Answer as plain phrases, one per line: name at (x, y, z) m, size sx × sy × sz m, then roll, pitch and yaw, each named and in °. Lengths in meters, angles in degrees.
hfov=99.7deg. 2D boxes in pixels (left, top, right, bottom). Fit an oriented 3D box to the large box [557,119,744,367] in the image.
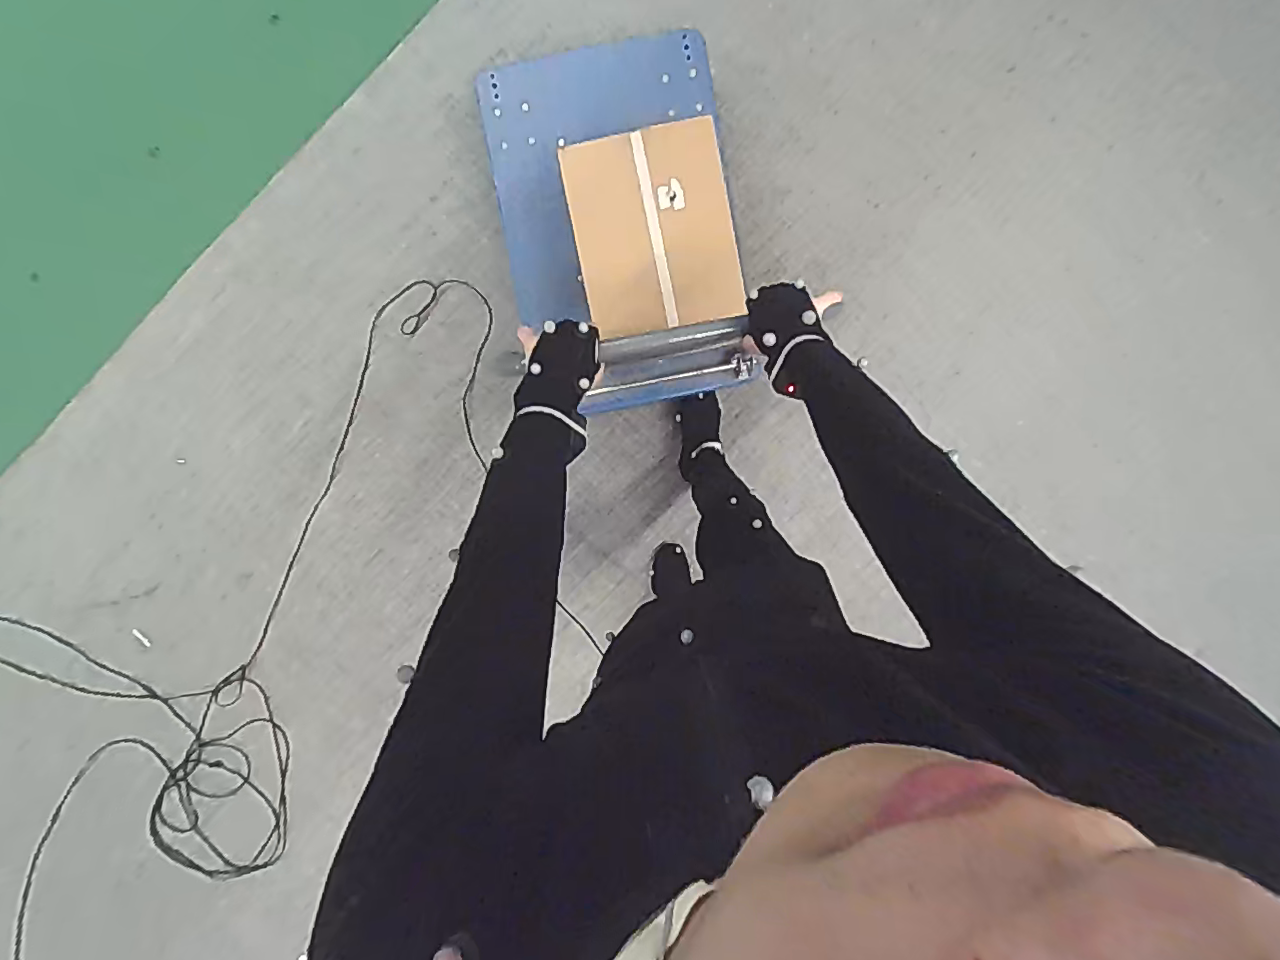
large box at (0.025, -0.506, 1.238) m, size 0.320 × 0.320 × 0.408 m, roll -11°, pitch 94°, yaw 0°
